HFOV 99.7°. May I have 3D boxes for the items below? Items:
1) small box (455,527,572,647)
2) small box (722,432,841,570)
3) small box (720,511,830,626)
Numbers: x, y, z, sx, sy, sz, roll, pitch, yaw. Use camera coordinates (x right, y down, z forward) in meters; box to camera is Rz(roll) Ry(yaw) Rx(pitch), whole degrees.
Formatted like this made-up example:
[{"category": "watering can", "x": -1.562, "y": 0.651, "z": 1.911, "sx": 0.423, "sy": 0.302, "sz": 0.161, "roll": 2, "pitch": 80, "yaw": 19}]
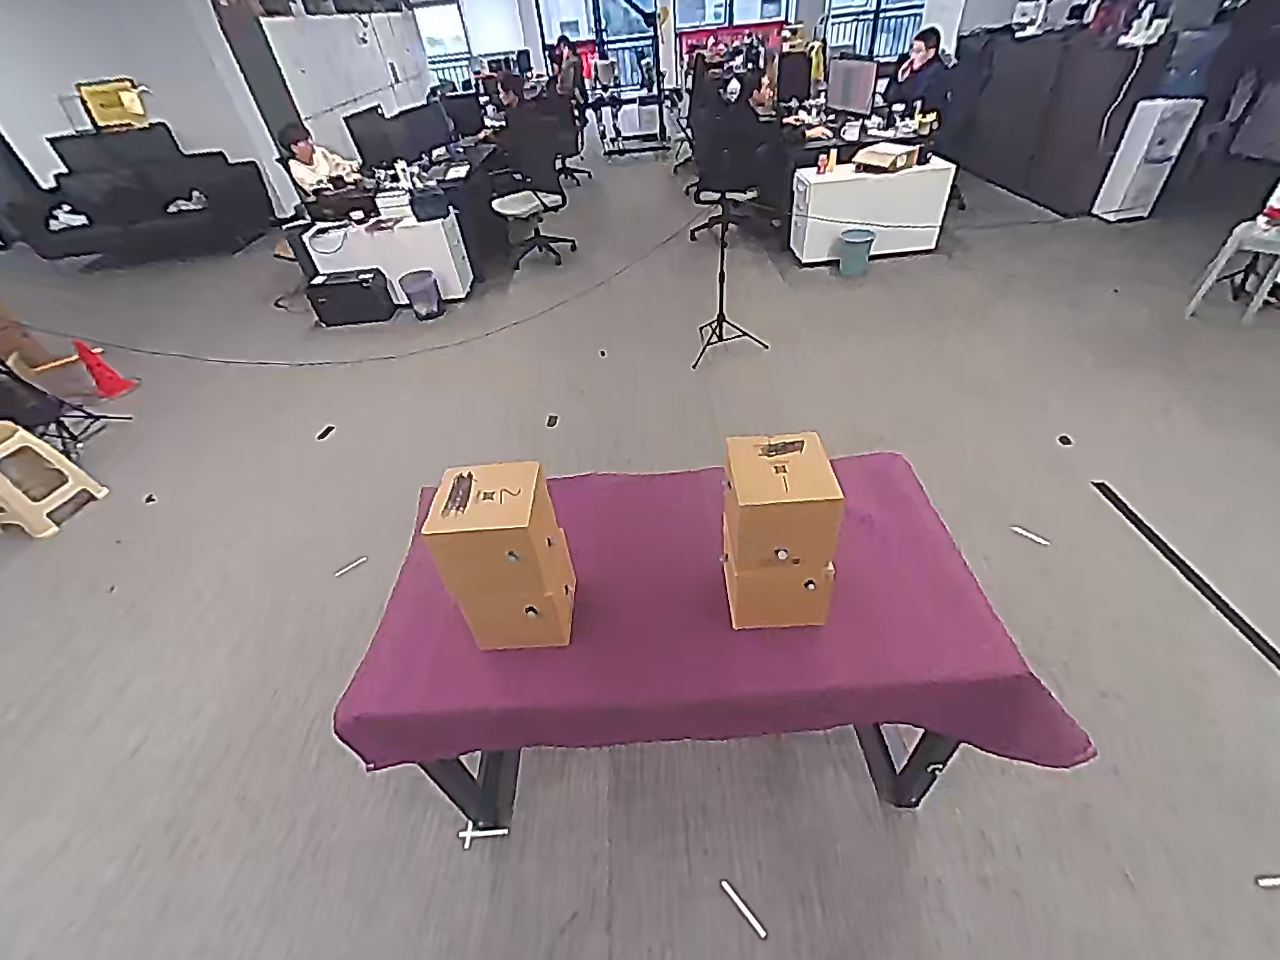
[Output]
[{"category": "small box", "x": -0.234, "y": 0.212, "z": 1.061, "sx": 0.179, "sy": 0.176, "sz": 0.168, "roll": -4, "pitch": 41, "yaw": 3}, {"category": "small box", "x": 0.236, "y": 0.037, "z": 0.950, "sx": 0.168, "sy": 0.176, "sz": 0.179, "roll": -4, "pitch": 42, "yaw": 3}, {"category": "small box", "x": 0.252, "y": 0.167, "z": 1.049, "sx": 0.179, "sy": 0.176, "sz": 0.168, "roll": -4, "pitch": 41, "yaw": 3}]
